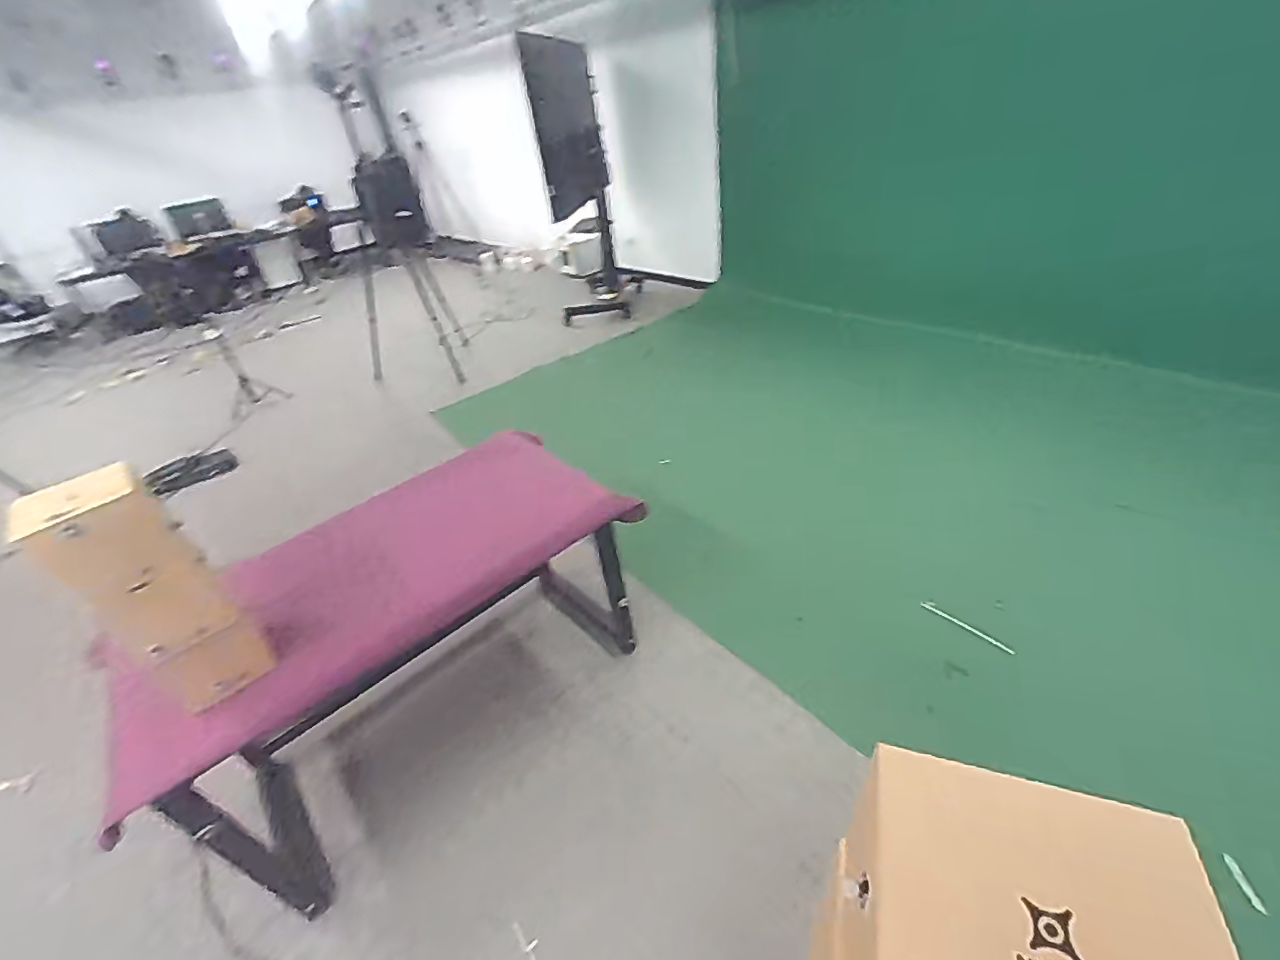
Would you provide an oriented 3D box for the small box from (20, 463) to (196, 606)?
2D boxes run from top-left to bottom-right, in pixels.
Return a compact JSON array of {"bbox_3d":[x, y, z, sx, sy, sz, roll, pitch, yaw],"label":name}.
[{"bbox_3d":[-0.966,0.099,0.996,0.168,0.176,0.179,-34,41,-30],"label":"small box"}]

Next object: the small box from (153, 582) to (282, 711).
[{"bbox_3d":[-0.925,0.364,1.184,0.168,0.176,0.179,-33,42,-30],"label":"small box"}]

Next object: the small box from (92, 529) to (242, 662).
[{"bbox_3d":[-0.940,0.234,1.085,0.168,0.176,0.179,-33,40,-30],"label":"small box"}]
